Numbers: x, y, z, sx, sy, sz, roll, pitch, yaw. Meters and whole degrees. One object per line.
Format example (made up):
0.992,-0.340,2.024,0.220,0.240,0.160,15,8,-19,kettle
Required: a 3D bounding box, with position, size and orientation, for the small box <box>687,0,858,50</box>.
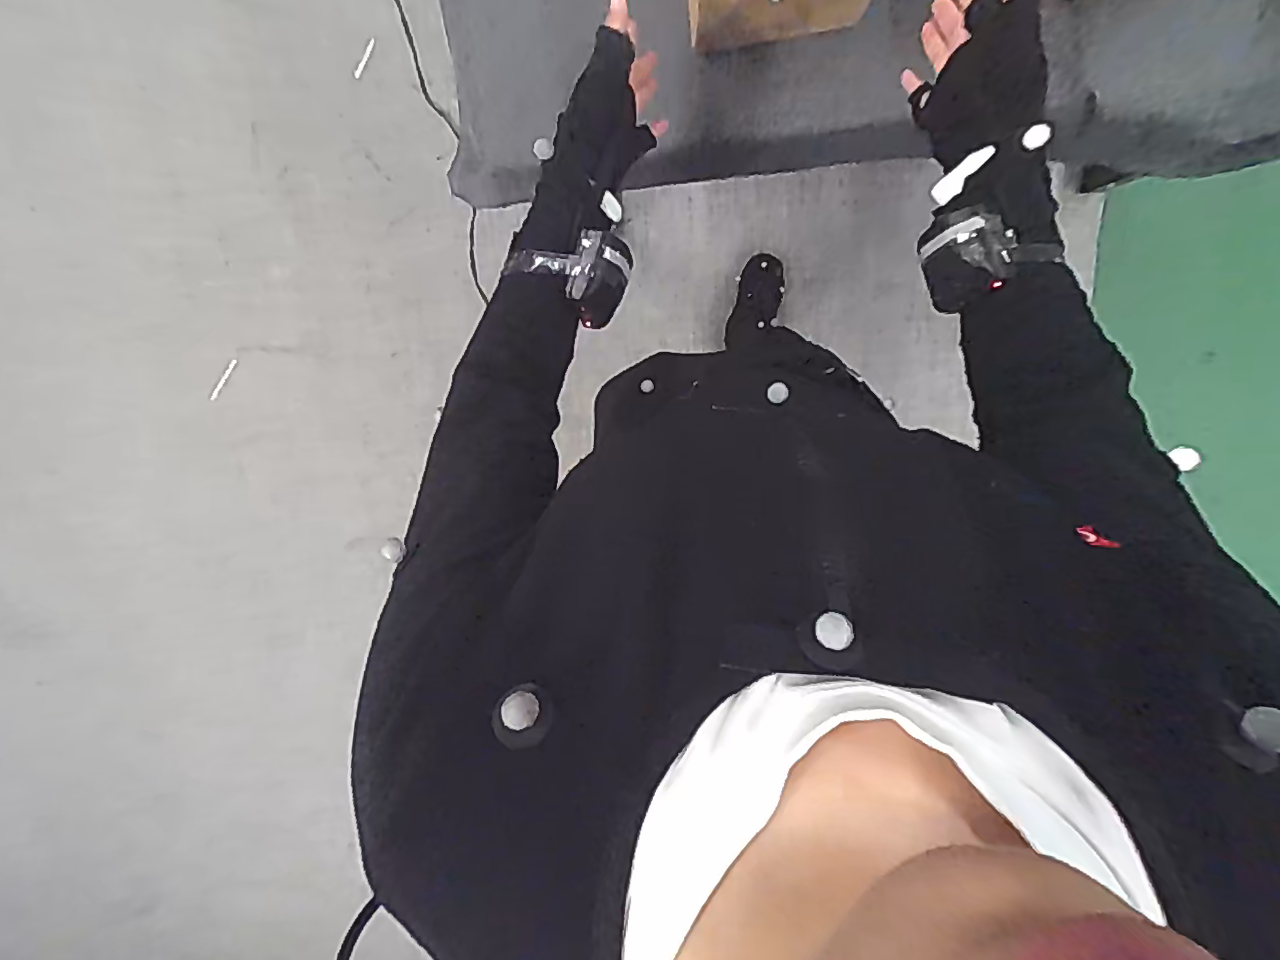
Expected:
0.126,-0.529,0.484,0.179,0.176,0.168,-6,103,5,small box
